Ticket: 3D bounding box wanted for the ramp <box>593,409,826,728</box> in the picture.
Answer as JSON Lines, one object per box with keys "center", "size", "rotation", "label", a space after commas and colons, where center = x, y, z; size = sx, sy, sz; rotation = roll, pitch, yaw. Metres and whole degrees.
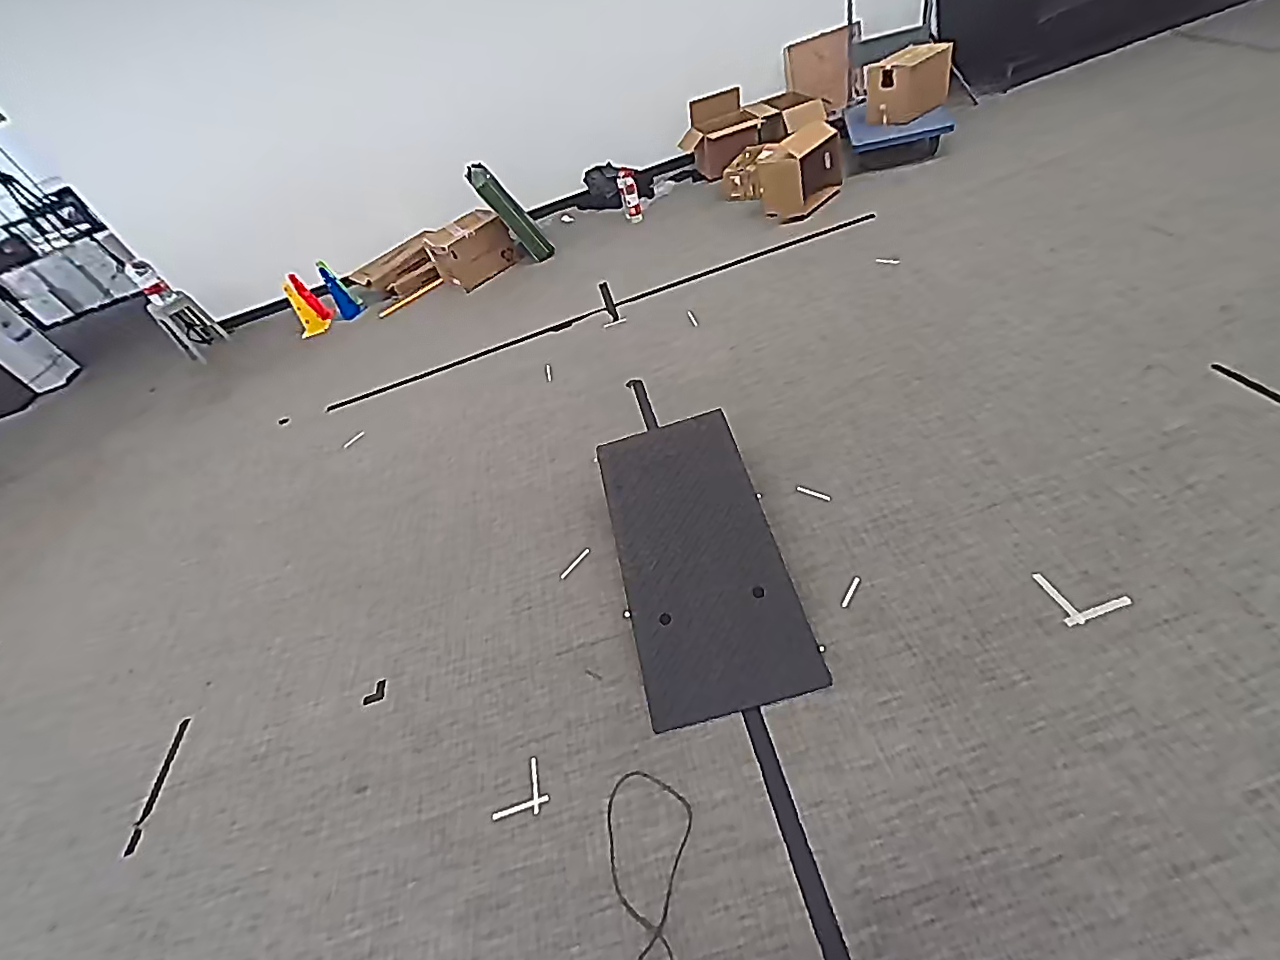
{"center": [0.163, 0.205, 1.718], "size": [0.509, 0.206, 0.991], "rotation": [-18, 45, 1], "label": "ramp"}
